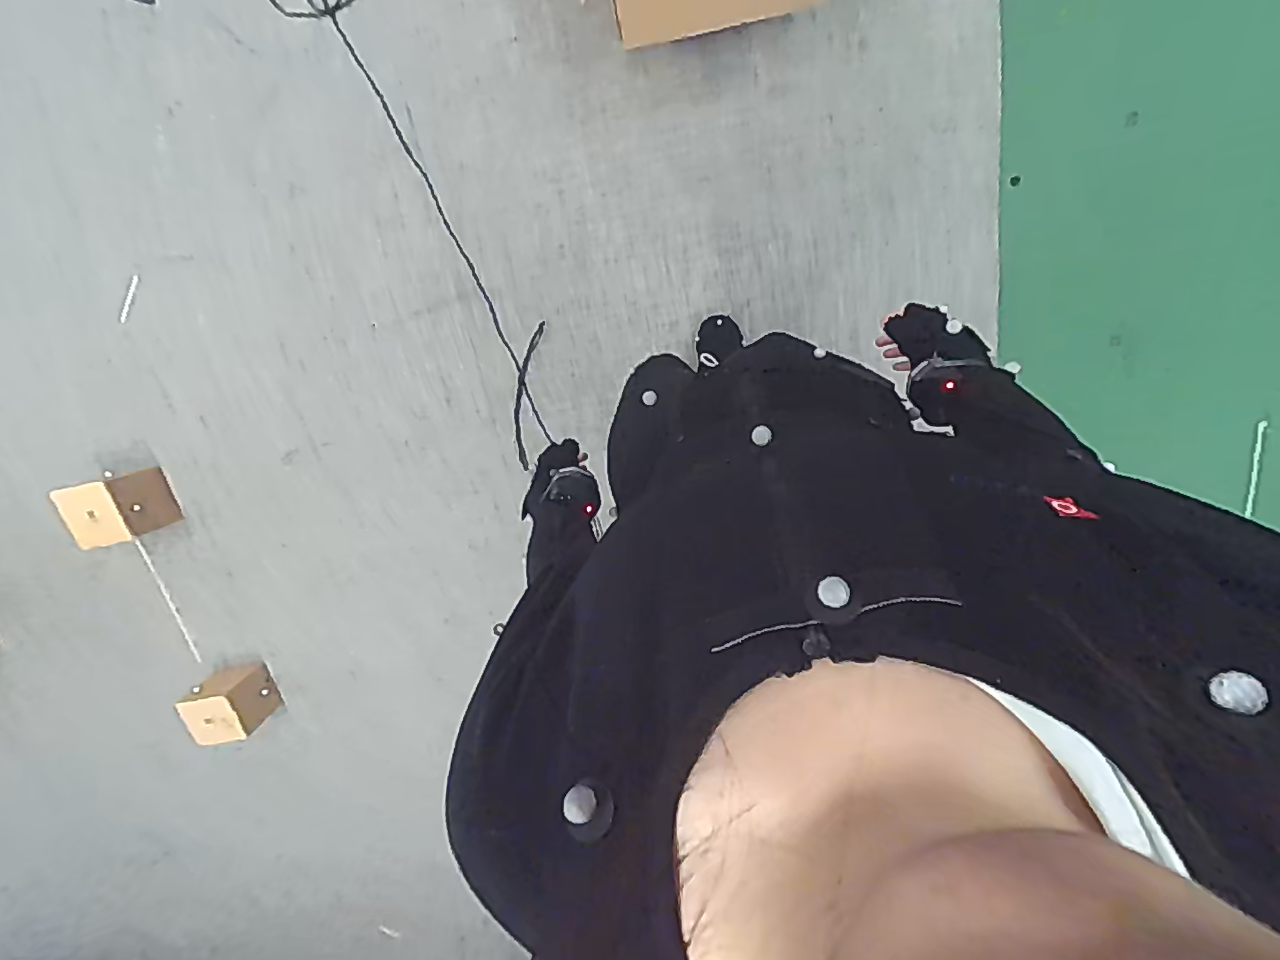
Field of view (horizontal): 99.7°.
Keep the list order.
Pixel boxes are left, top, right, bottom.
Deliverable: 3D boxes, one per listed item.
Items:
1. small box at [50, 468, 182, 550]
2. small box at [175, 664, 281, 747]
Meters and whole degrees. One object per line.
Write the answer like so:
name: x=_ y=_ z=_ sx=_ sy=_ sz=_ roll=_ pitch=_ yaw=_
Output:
small box: x=-1.459 y=0.074 z=1.519 sx=0.168 sy=0.176 sz=0.179 roll=-11 pitch=108 yaw=6
small box: x=-1.300 y=0.710 z=1.717 sx=0.179 sy=0.176 sz=0.168 roll=-11 pitch=107 yaw=6
